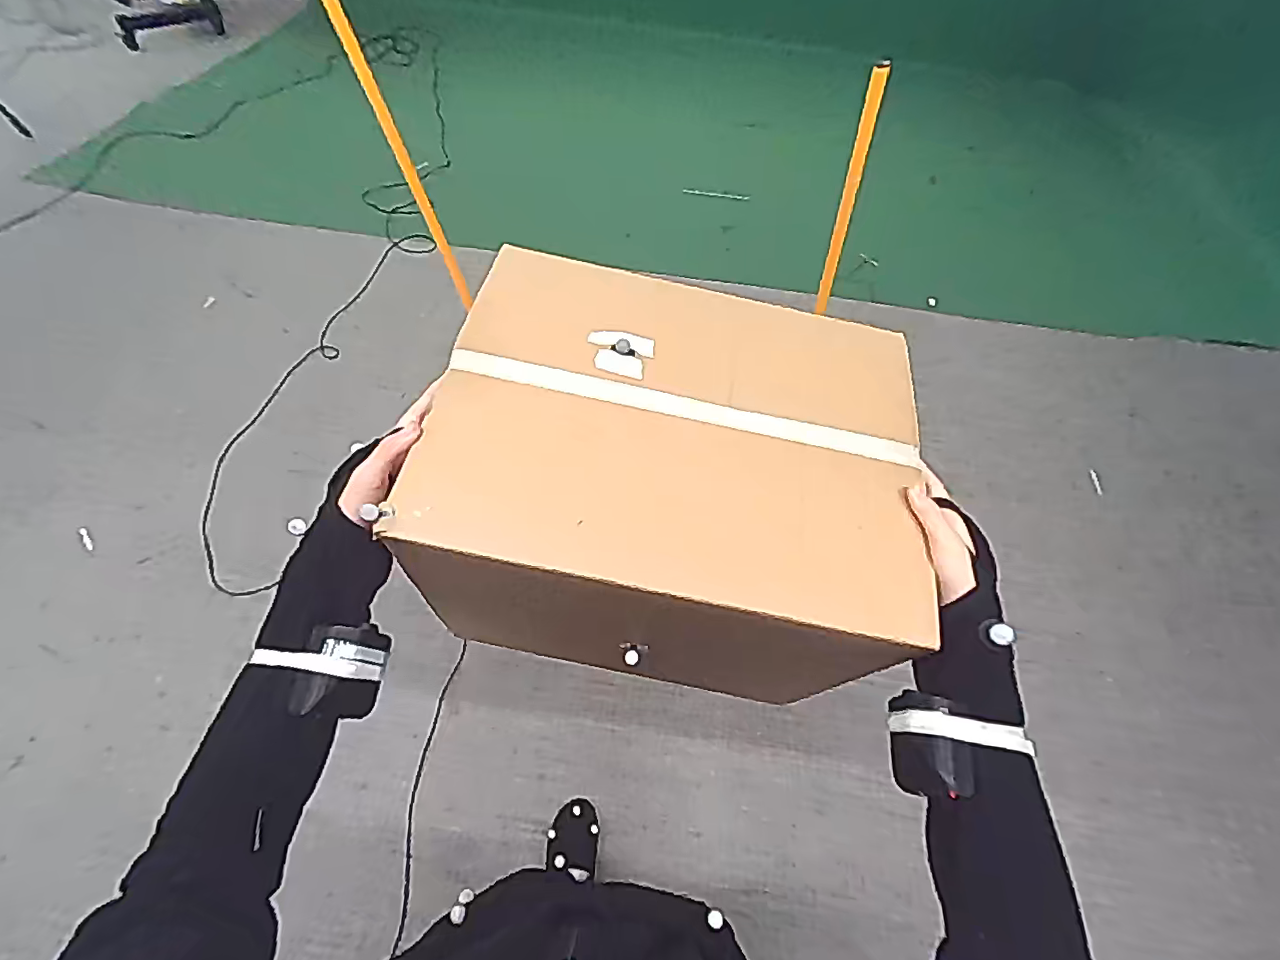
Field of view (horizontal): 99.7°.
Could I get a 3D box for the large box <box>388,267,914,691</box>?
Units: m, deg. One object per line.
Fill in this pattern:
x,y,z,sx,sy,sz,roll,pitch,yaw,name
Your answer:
0.020,0.026,0.597,0.408,0.320,0.320,12,60,0,large box
